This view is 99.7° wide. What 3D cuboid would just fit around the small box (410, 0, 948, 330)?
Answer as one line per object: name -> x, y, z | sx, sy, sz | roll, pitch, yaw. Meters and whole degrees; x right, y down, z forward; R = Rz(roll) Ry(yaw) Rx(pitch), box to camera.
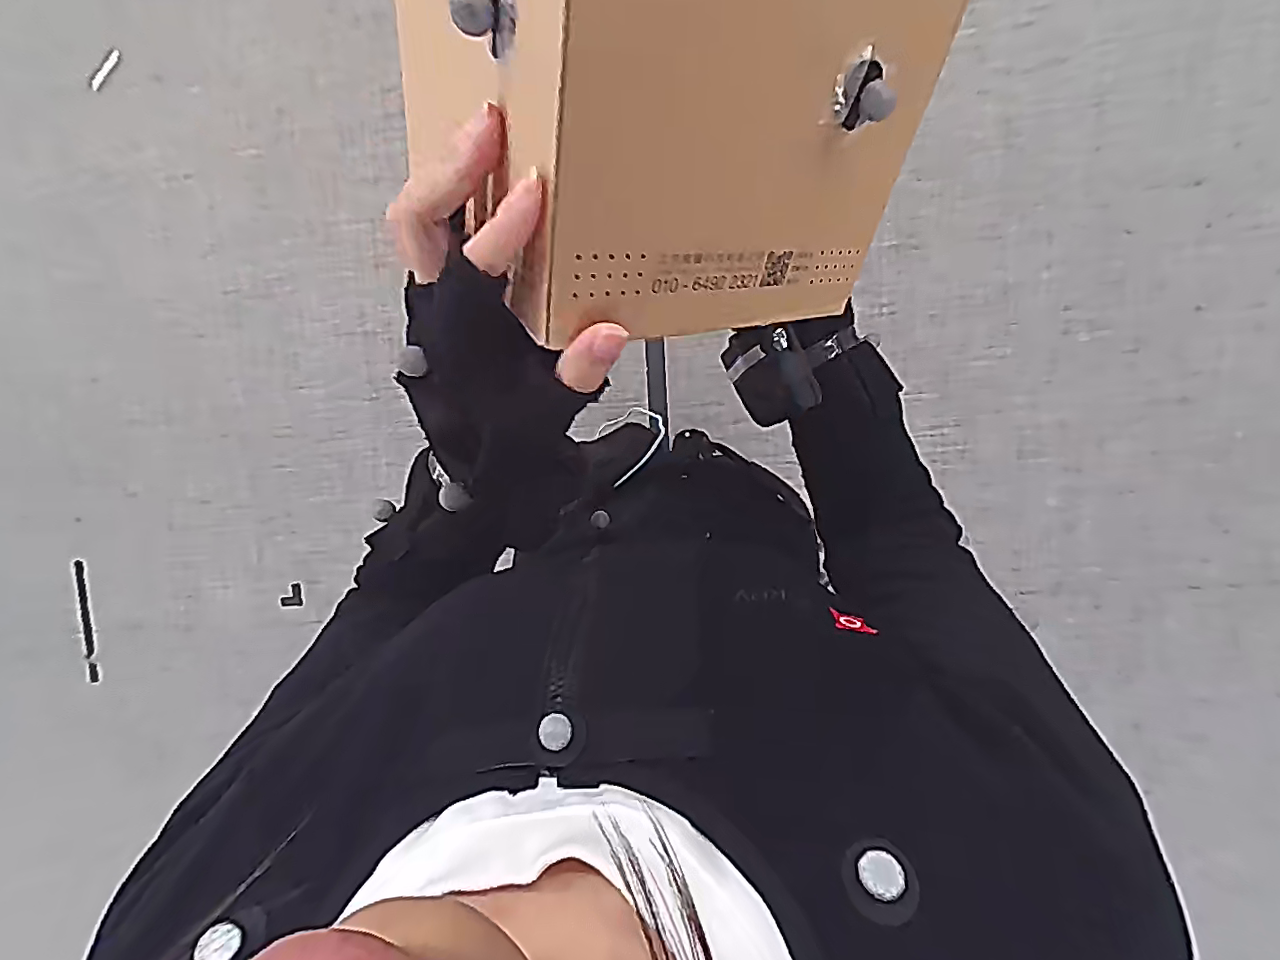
small box -> 0.005, -0.176, 0.242 | 0.179, 0.168, 0.176 | 48, 140, 37
